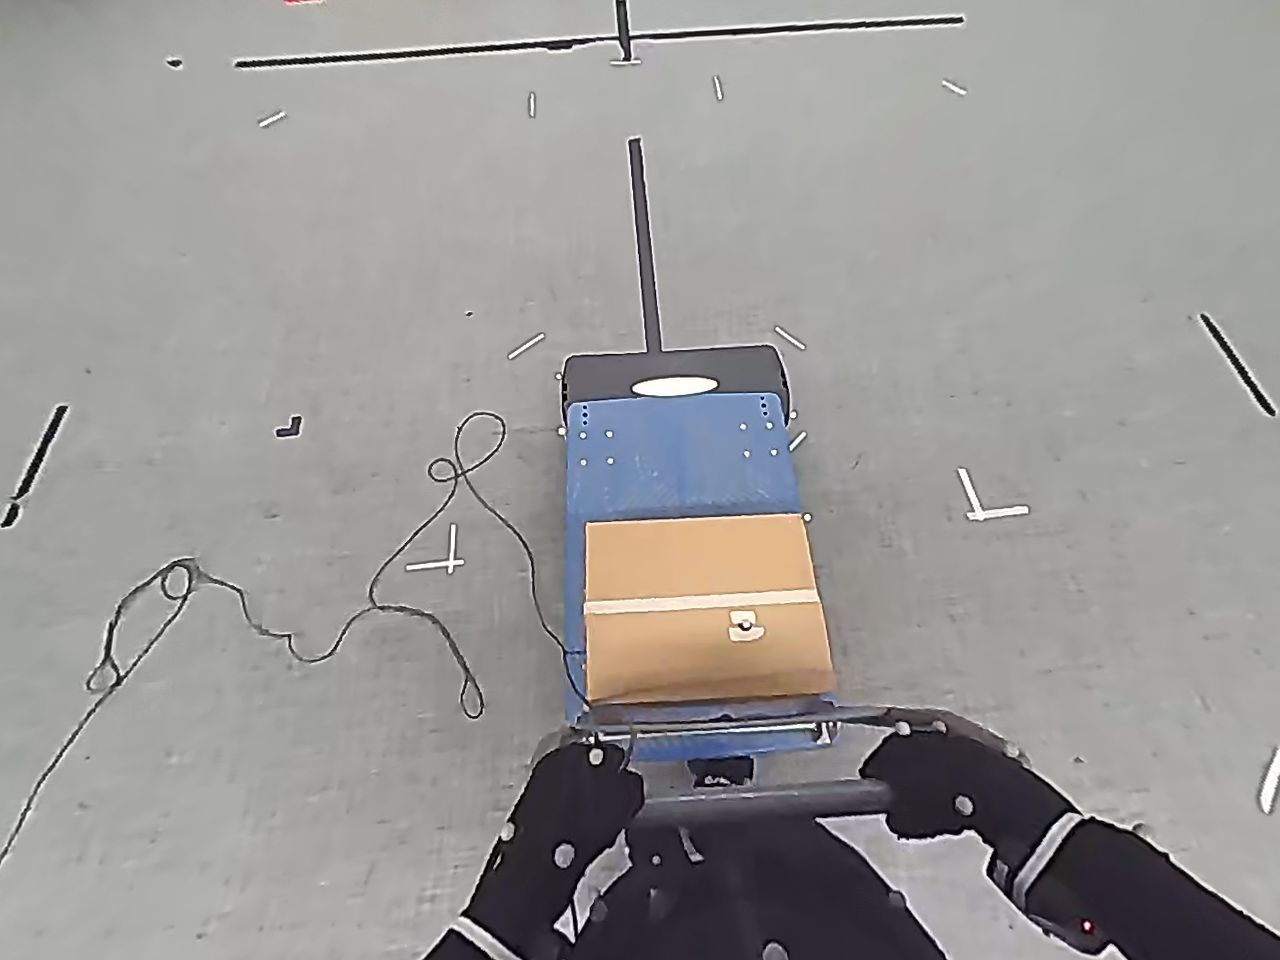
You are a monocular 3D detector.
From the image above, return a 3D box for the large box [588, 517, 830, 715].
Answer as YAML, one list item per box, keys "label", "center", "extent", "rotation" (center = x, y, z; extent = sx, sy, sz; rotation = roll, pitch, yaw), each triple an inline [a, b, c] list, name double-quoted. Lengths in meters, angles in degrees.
- label: "large box"
  center: [0.108, 0.285, 1.088]
  extent: [0.408, 0.320, 0.320]
  rotation: [-3, 65, -2]
